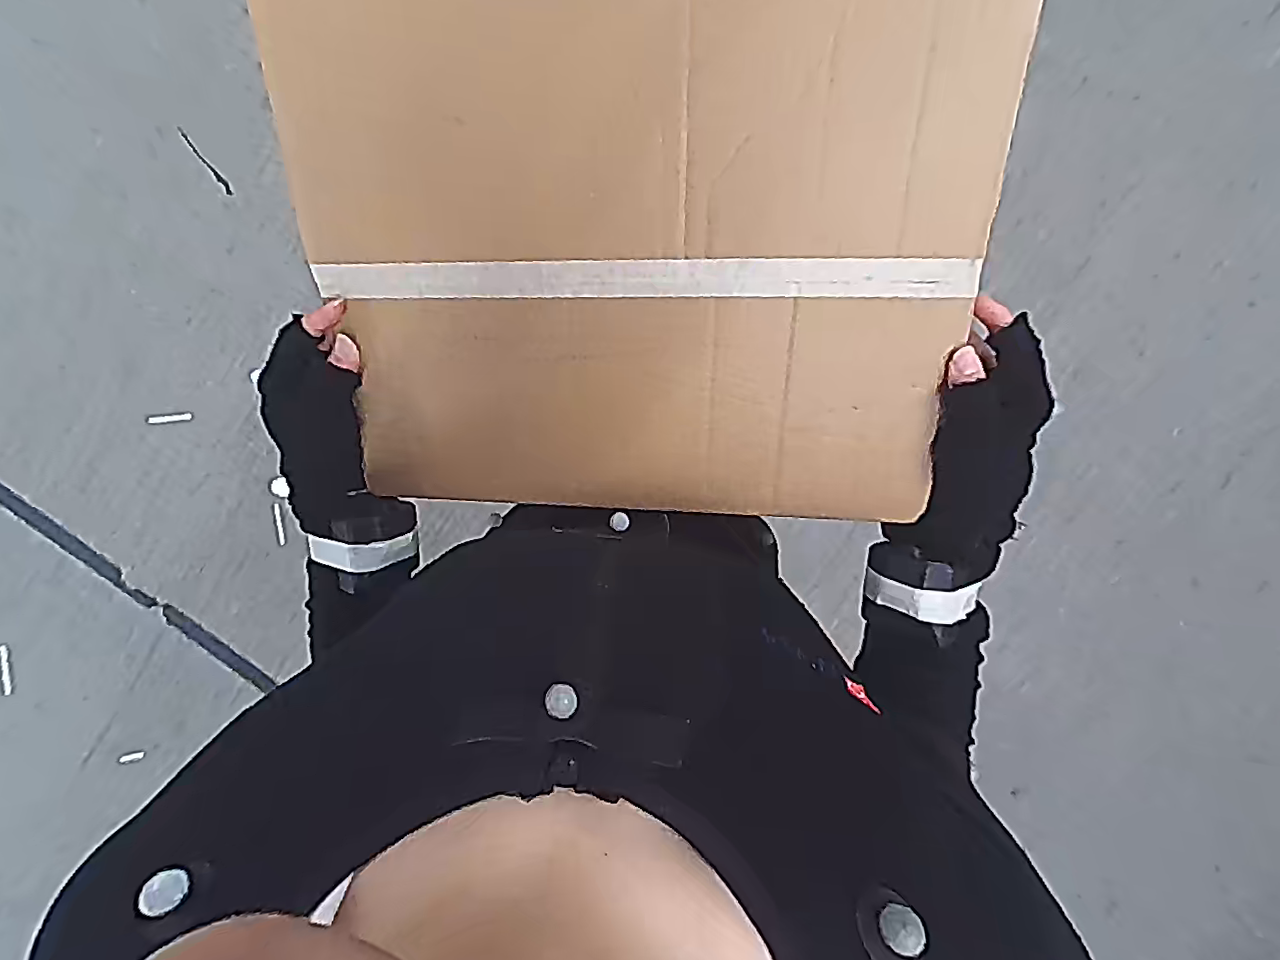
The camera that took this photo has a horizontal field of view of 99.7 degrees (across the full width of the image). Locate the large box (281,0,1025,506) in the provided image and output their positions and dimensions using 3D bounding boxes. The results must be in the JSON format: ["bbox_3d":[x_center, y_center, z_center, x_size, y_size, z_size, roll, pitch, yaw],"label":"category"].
[{"bbox_3d":[0.012,-0.187,0.473,0.408,0.320,0.320,3,115,7],"label":"large box"}]
